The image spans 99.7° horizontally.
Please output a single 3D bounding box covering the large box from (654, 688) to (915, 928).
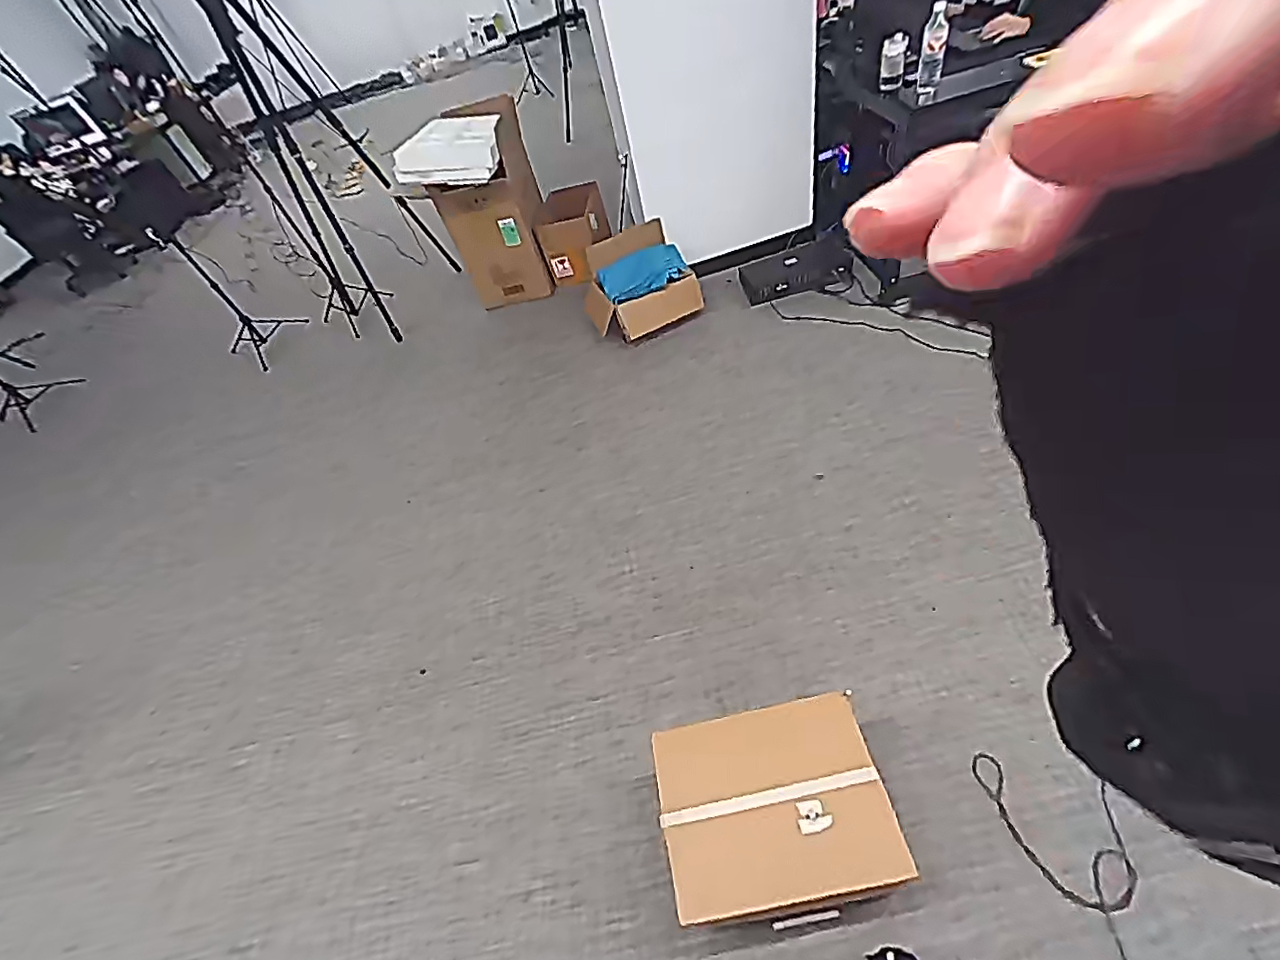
[{"bbox_3d":[0.273,0.679,1.110,0.408,0.320,0.320,-15,48,3],"label":"large box"}]
